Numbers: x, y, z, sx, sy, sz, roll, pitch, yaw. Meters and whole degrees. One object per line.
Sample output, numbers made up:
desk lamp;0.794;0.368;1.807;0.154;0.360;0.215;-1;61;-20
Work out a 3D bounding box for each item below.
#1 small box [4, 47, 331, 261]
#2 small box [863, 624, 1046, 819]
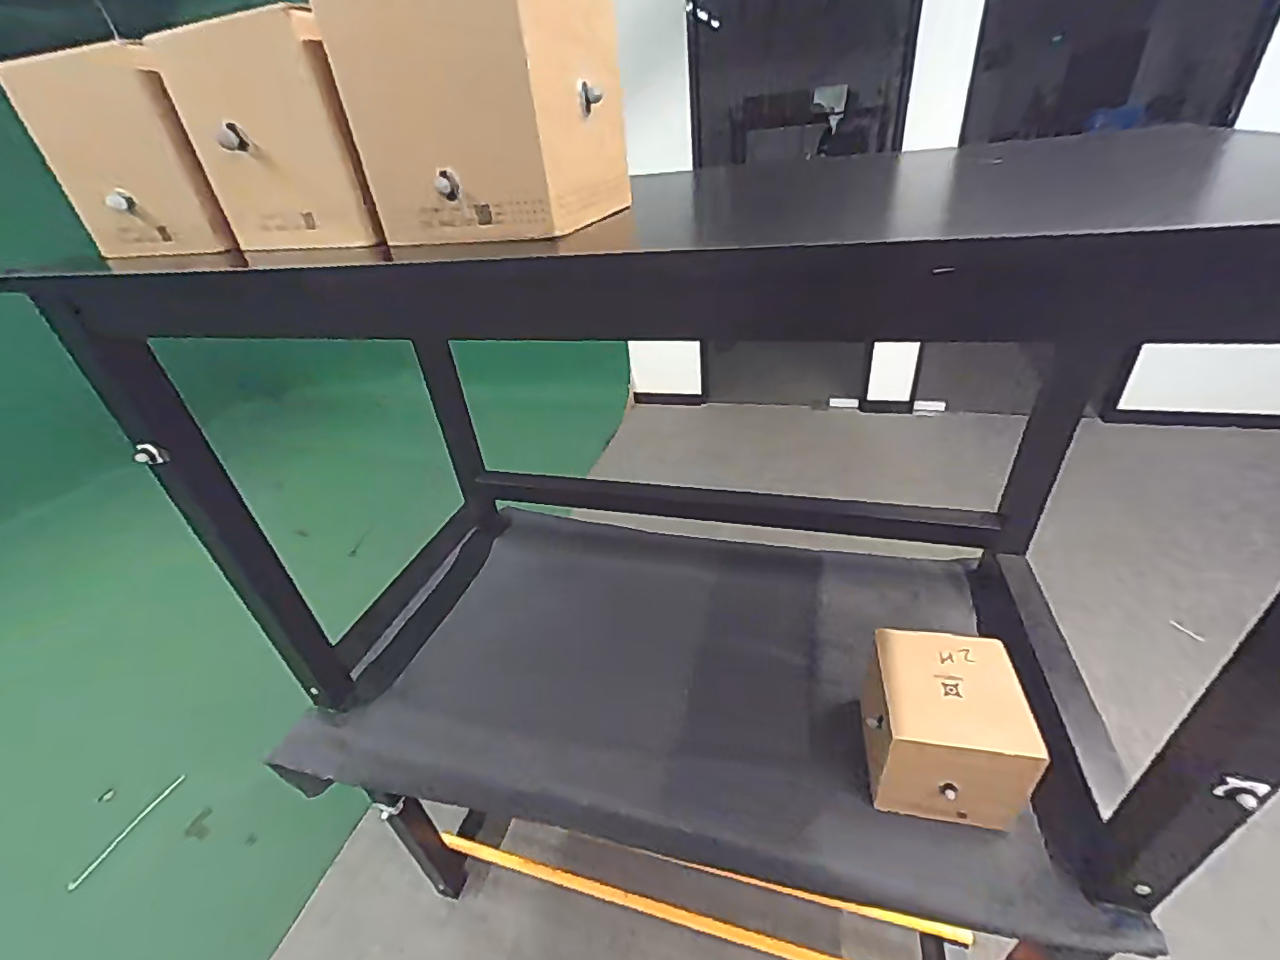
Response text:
small box;-0.469;-0.341;0.577;0.168;0.176;0.179;4;36;15
small box;0.410;0.327;0.741;0.168;0.176;0.179;3;34;13
